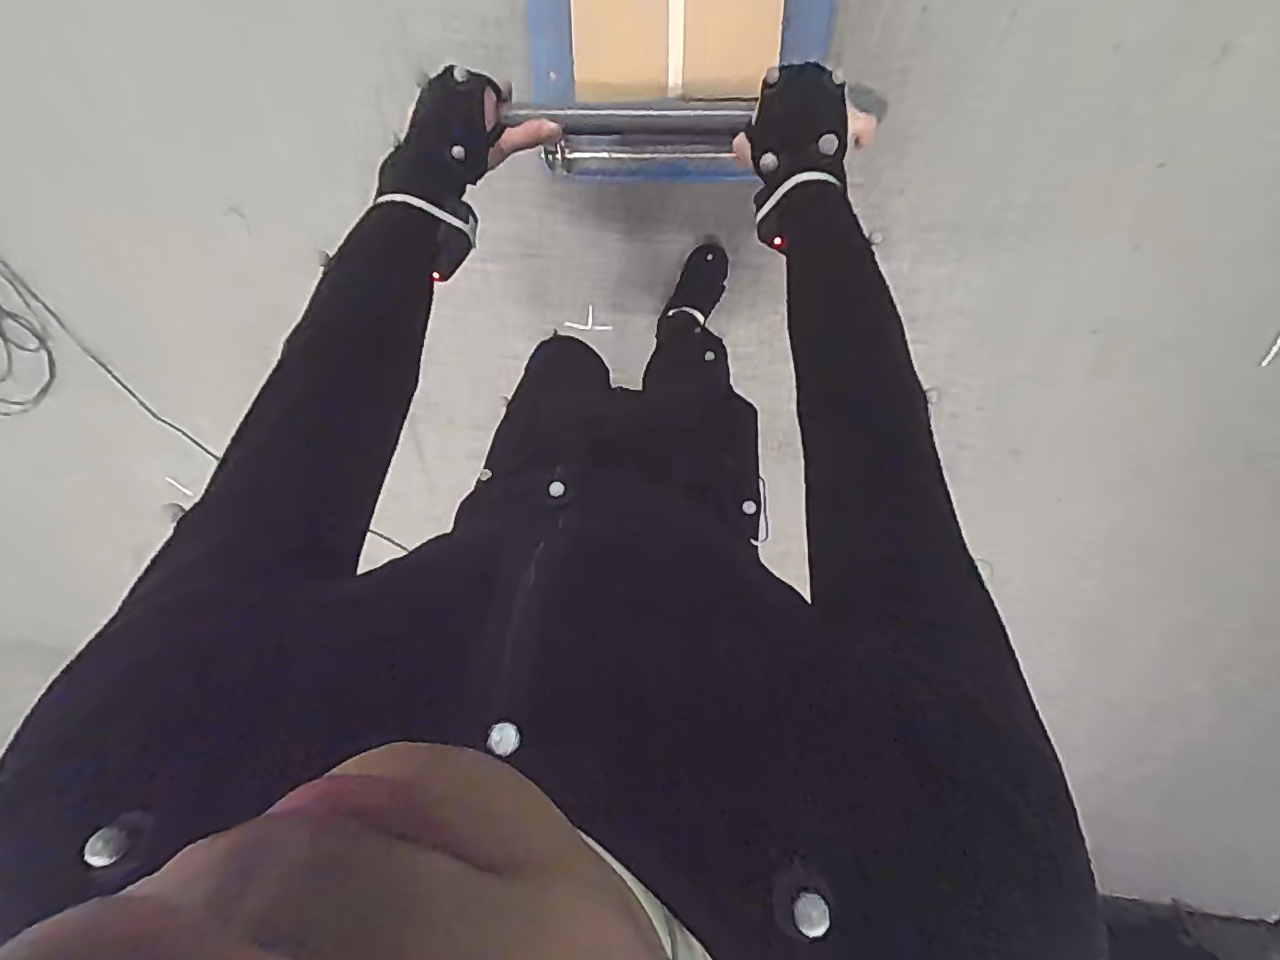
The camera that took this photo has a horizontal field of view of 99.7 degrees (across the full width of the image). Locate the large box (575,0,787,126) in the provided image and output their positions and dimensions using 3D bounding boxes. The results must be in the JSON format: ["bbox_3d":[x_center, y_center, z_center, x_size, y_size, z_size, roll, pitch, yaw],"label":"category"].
[{"bbox_3d":[0.074,-0.839,0.882,0.320,0.320,0.408,3,117,5],"label":"large box"}]
